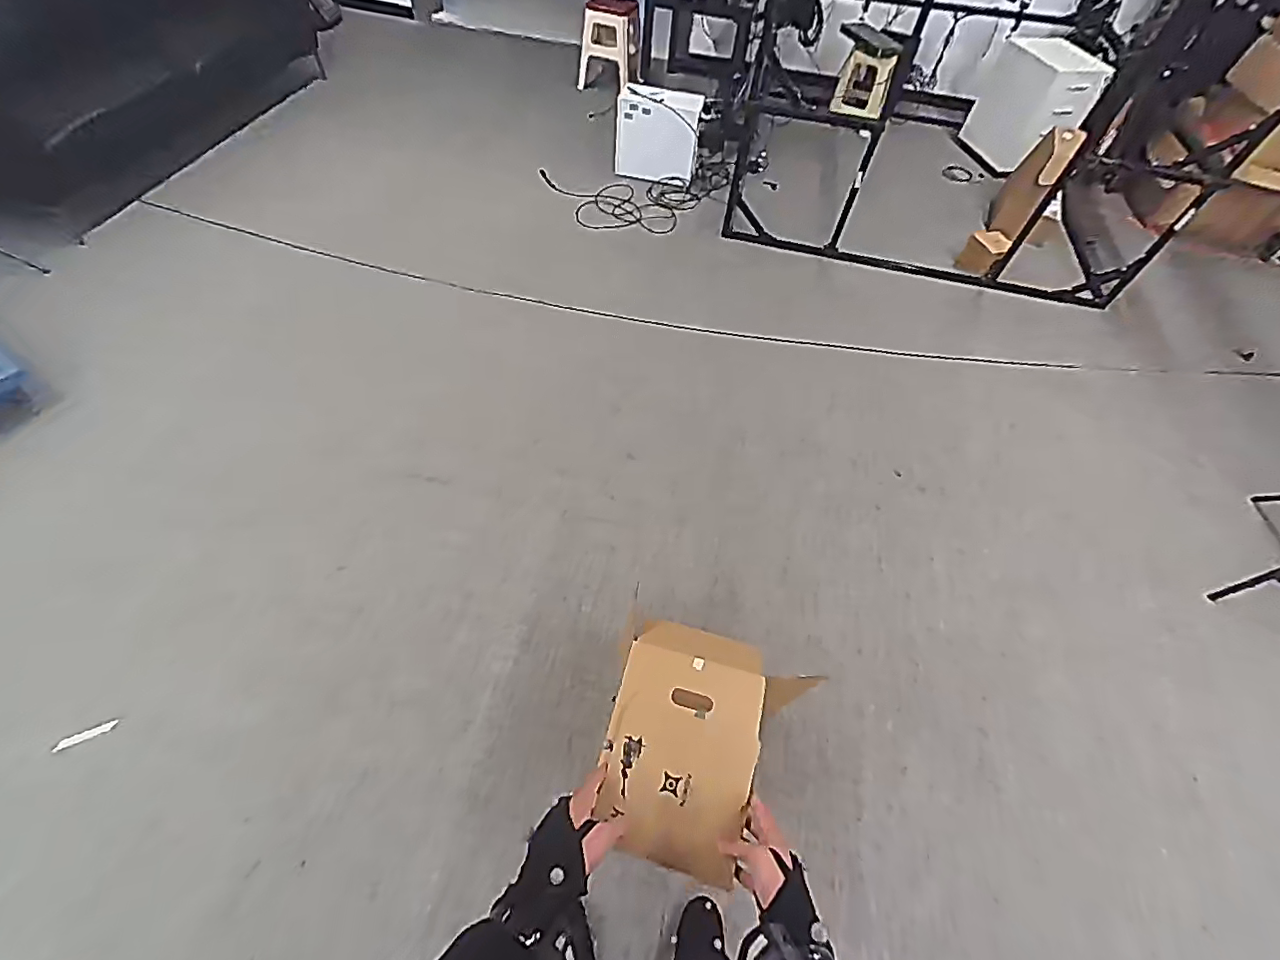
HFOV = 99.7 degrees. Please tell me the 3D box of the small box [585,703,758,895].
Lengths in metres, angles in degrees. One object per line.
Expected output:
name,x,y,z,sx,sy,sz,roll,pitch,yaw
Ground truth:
small box,0.036,0.410,0.728,0.179,0.176,0.168,19,67,3
